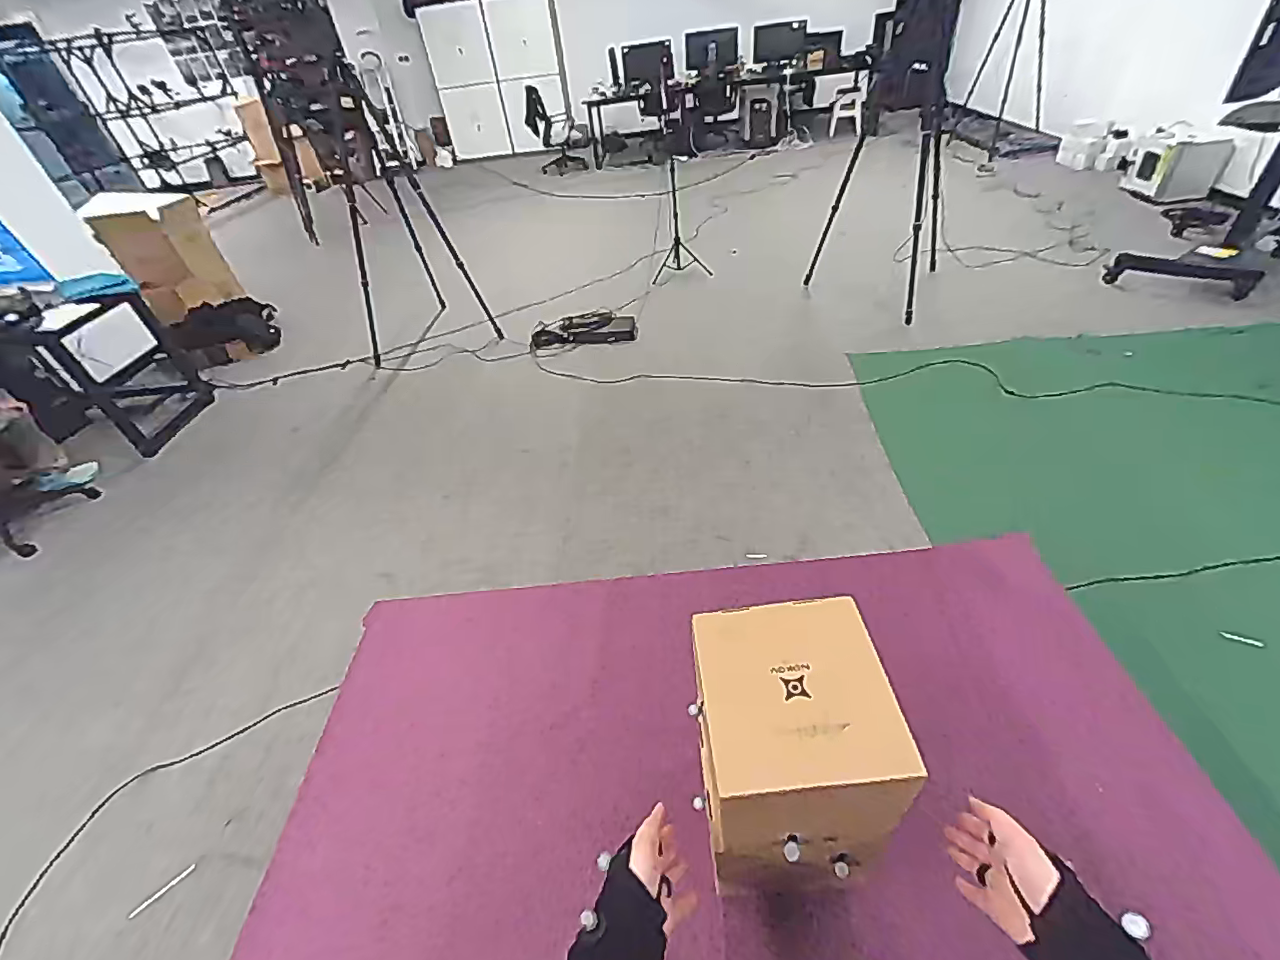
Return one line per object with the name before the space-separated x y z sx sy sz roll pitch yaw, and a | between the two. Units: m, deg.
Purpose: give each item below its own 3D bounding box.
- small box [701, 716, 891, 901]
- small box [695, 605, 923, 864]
small box | 0.169 0.378 0.644 0.179 0.176 0.168 -6 40 3
small box | 0.148 0.253 0.541 0.168 0.176 0.179 -8 41 3
